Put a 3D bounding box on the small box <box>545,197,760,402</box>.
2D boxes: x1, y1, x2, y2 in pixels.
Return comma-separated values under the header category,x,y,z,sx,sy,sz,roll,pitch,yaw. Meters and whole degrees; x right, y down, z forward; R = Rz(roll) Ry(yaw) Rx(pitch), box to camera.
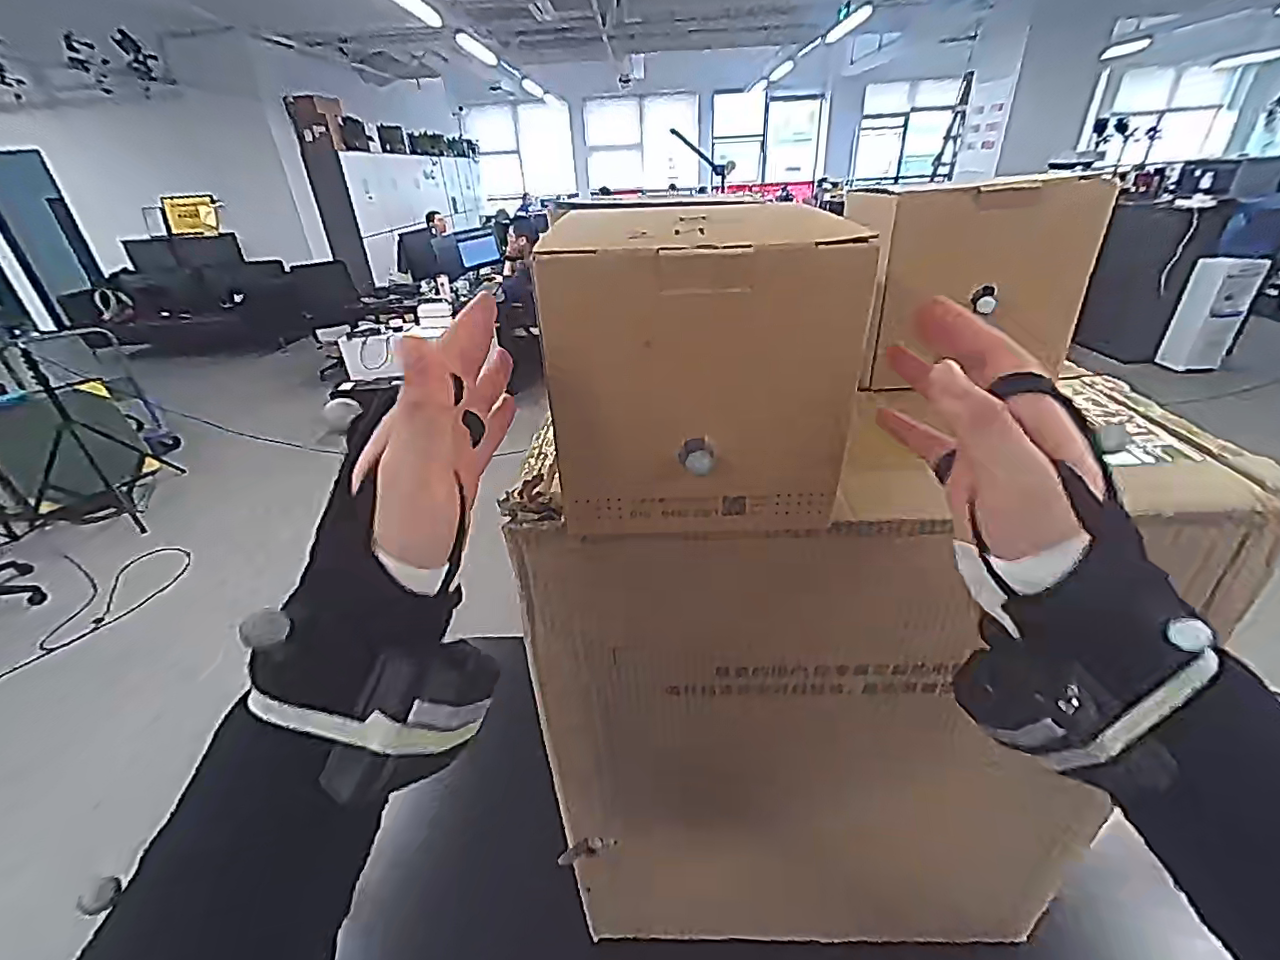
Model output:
category,x,y,z,sx,sy,sz,roll,pitch,yaw
small box,0.016,-0.181,0.535,0.179,0.176,0.168,-1,29,2
